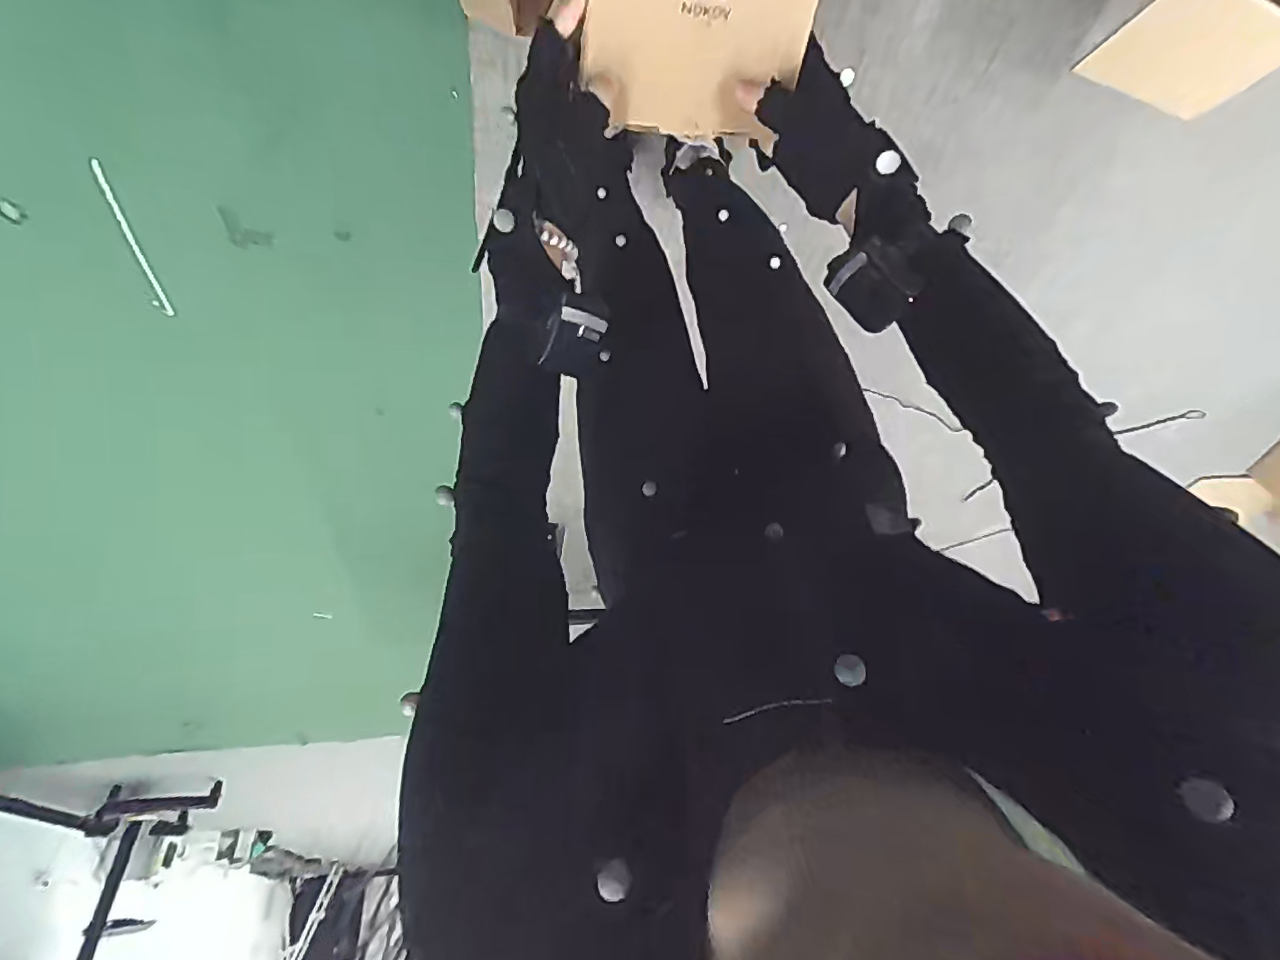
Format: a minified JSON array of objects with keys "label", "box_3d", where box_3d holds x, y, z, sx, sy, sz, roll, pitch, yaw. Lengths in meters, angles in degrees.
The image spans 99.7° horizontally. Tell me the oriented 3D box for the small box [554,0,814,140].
[{"label":"small box","box_3d":[0.026,-0.393,0.420,0.168,0.176,0.179,-5,138,-15]}]
